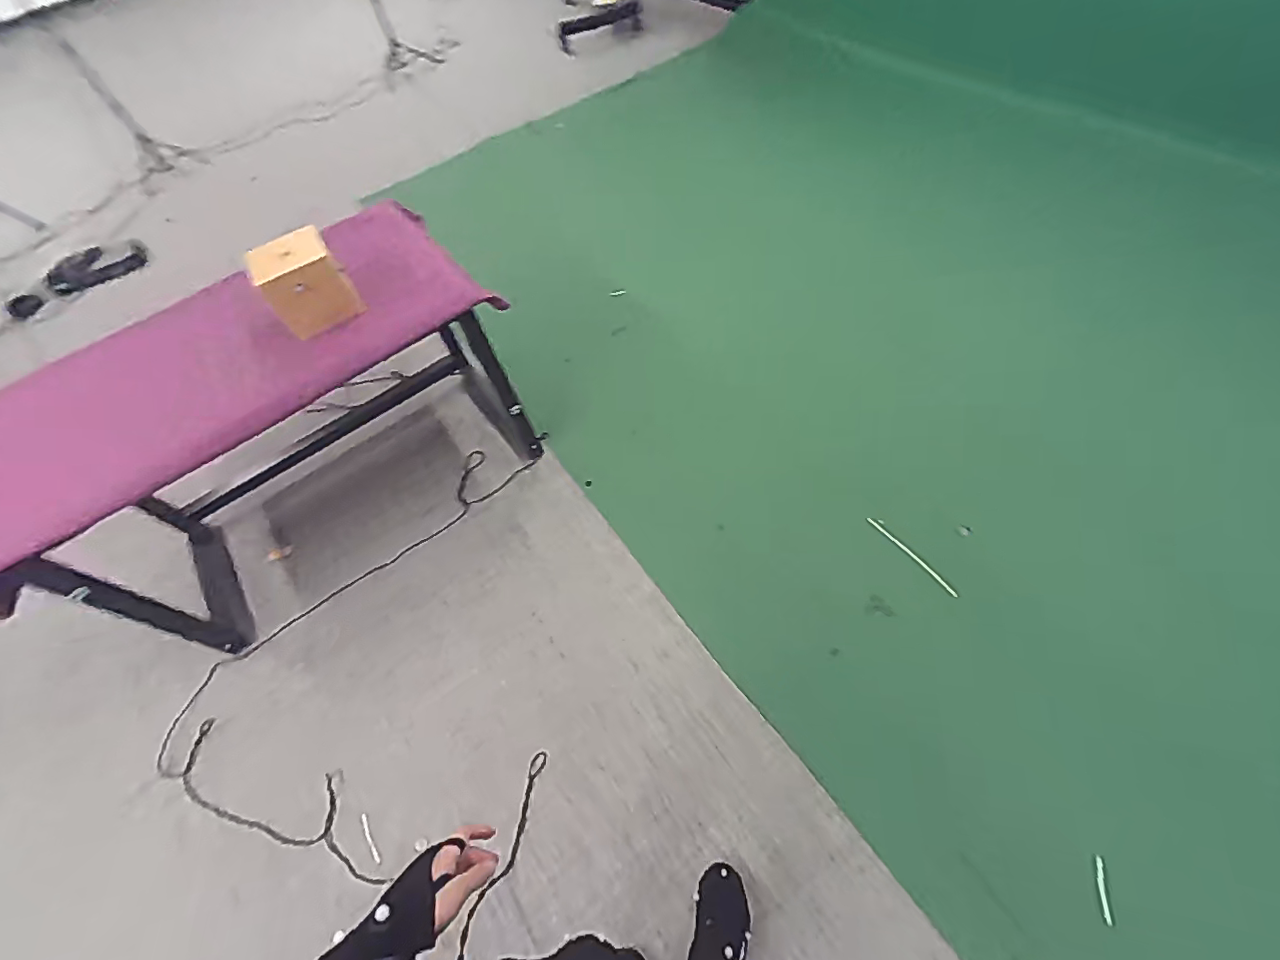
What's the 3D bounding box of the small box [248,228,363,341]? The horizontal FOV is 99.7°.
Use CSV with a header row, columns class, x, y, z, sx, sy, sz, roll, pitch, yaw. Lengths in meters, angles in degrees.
class,x,y,z,sx,sy,sz,roll,pitch,yaw
small box,-0.819,-0.482,1.342,0.179,0.176,0.168,-31,59,-11
